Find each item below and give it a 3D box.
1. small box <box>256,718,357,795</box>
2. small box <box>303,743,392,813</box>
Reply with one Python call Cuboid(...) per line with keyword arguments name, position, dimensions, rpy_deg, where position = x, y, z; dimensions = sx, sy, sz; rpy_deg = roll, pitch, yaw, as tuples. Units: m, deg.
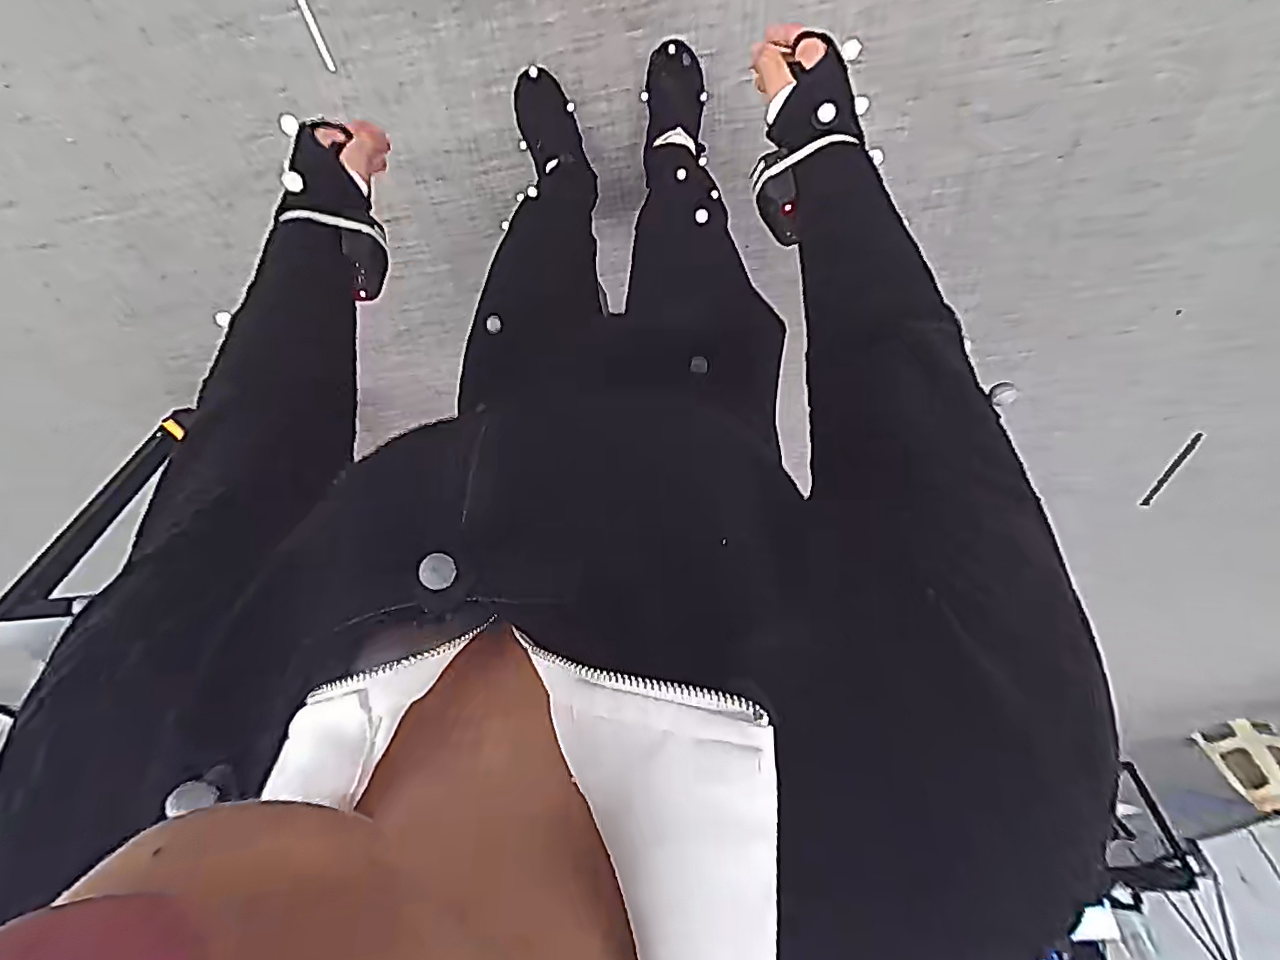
Cuboid(name="small box", position=(-0.967, 0.814, 1.593), dimensions=(0.179, 0.176, 0.168), rpy_deg=(-5, 137, 5))
Cuboid(name="small box", position=(-0.942, 0.971, 1.763), dimensions=(0.168, 0.176, 0.179), rpy_deg=(-5, 137, 6))
